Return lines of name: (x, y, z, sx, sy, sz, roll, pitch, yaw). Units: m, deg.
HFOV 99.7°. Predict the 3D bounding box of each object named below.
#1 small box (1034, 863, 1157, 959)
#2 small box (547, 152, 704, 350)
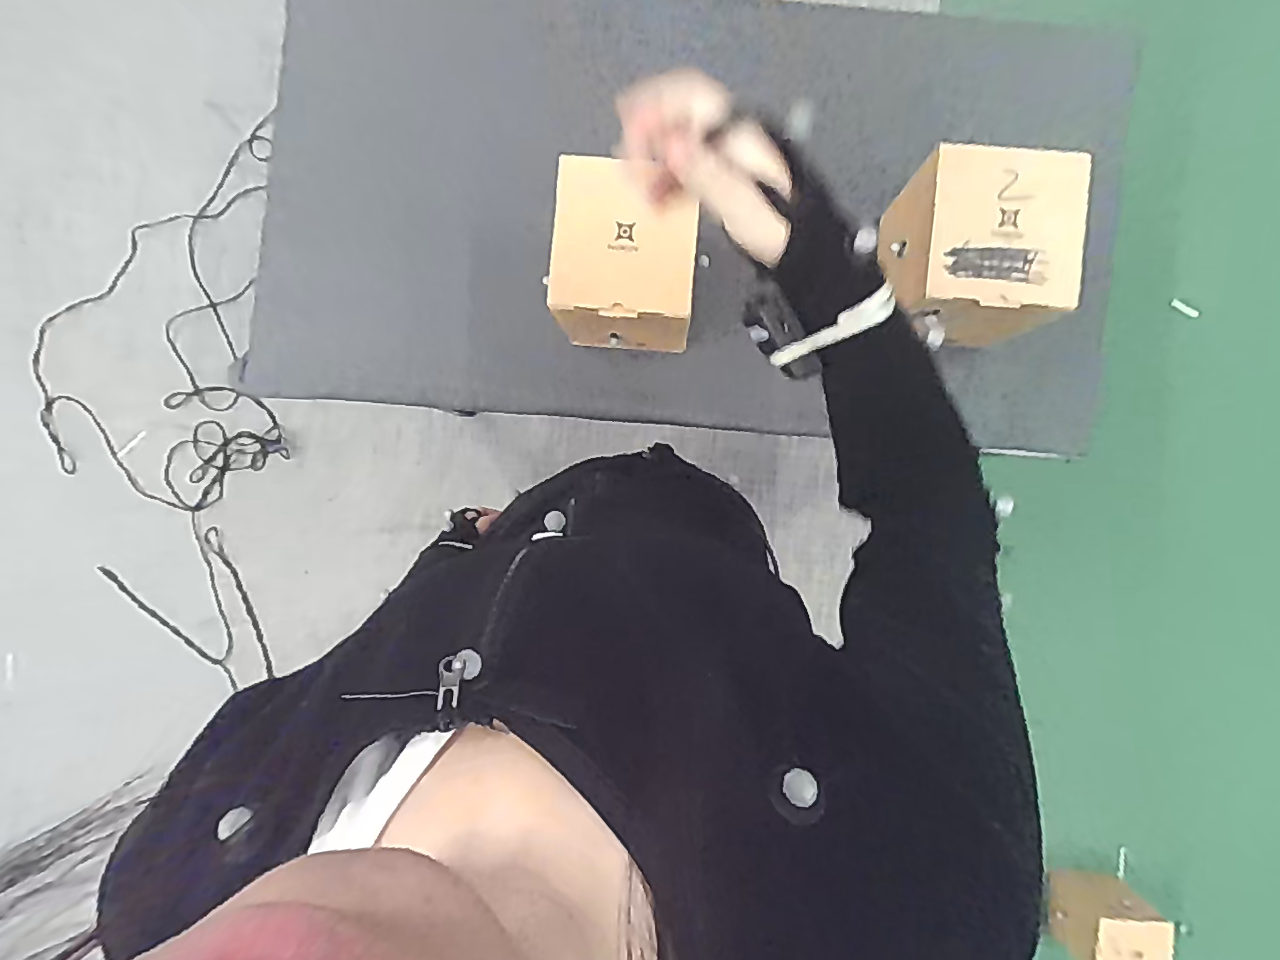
small box: (1.168, 1.130, 1.396, 0.179, 0.176, 0.168, 2, 90, 2)
small box: (-0.016, -0.279, 0.690, 0.168, 0.176, 0.179, 5, 91, 1)
